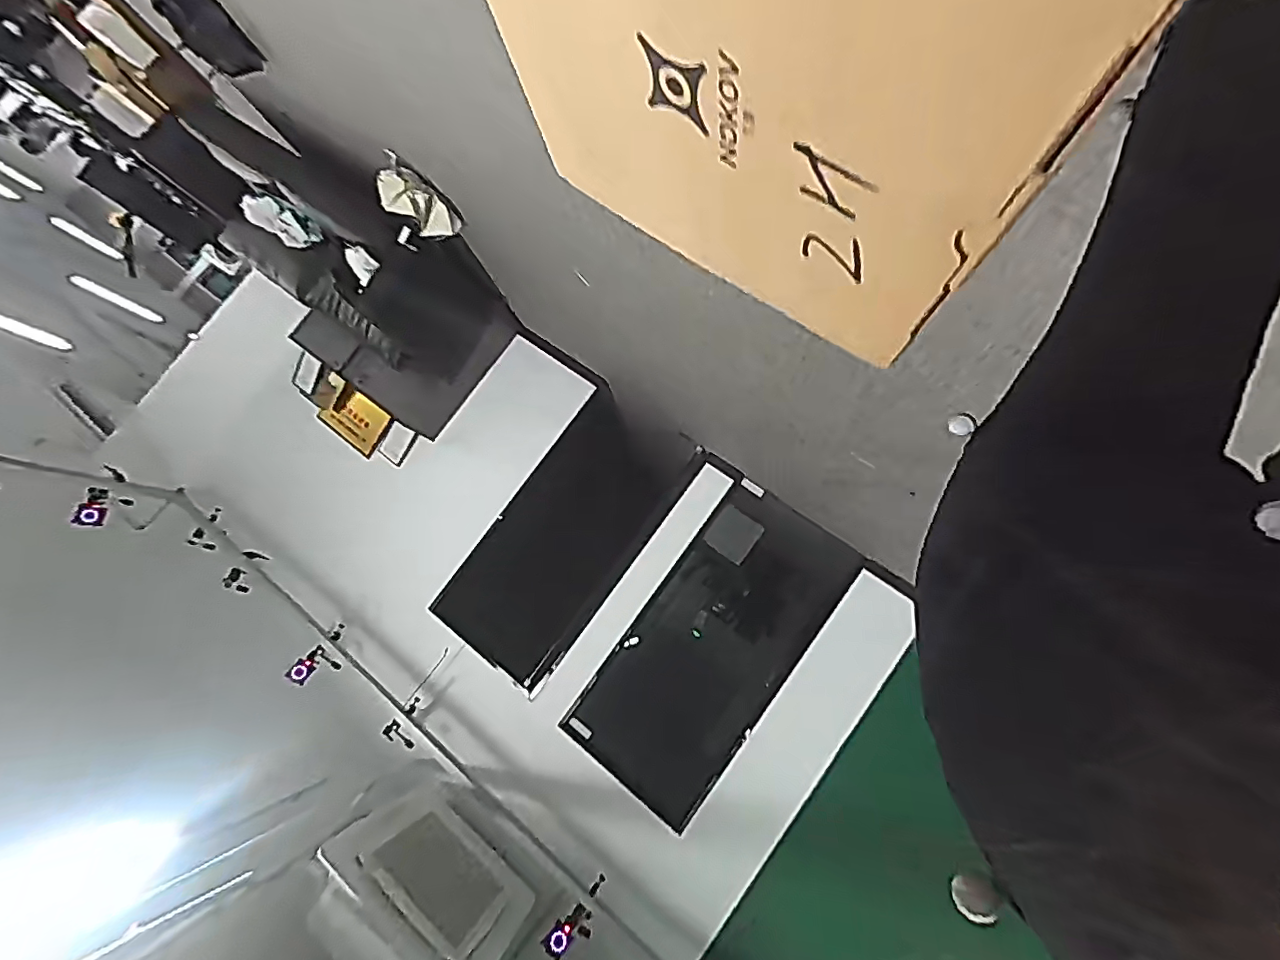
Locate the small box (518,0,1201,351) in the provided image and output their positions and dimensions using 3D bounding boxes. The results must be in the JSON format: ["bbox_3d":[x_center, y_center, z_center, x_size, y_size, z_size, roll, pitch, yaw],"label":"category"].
[{"bbox_3d":[0.074,-0.179,0.162,0.179,0.176,0.168,36,177,11],"label":"small box"}]
